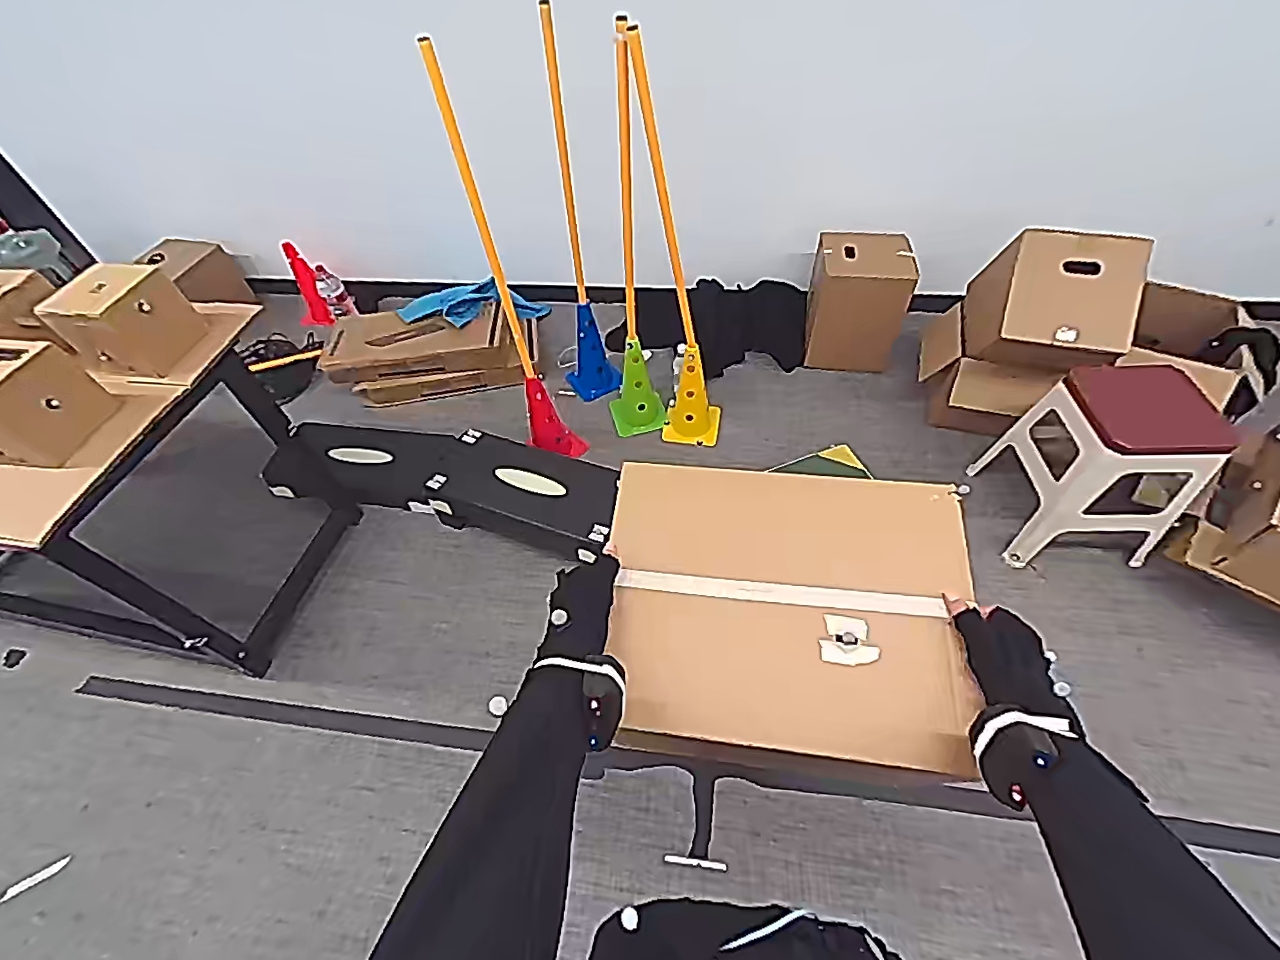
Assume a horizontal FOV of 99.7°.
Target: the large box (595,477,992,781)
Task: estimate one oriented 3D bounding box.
[{"bbox_3d":[0.173,0.214,0.746,0.408,0.320,0.320,4,61,7],"label":"large box"}]
